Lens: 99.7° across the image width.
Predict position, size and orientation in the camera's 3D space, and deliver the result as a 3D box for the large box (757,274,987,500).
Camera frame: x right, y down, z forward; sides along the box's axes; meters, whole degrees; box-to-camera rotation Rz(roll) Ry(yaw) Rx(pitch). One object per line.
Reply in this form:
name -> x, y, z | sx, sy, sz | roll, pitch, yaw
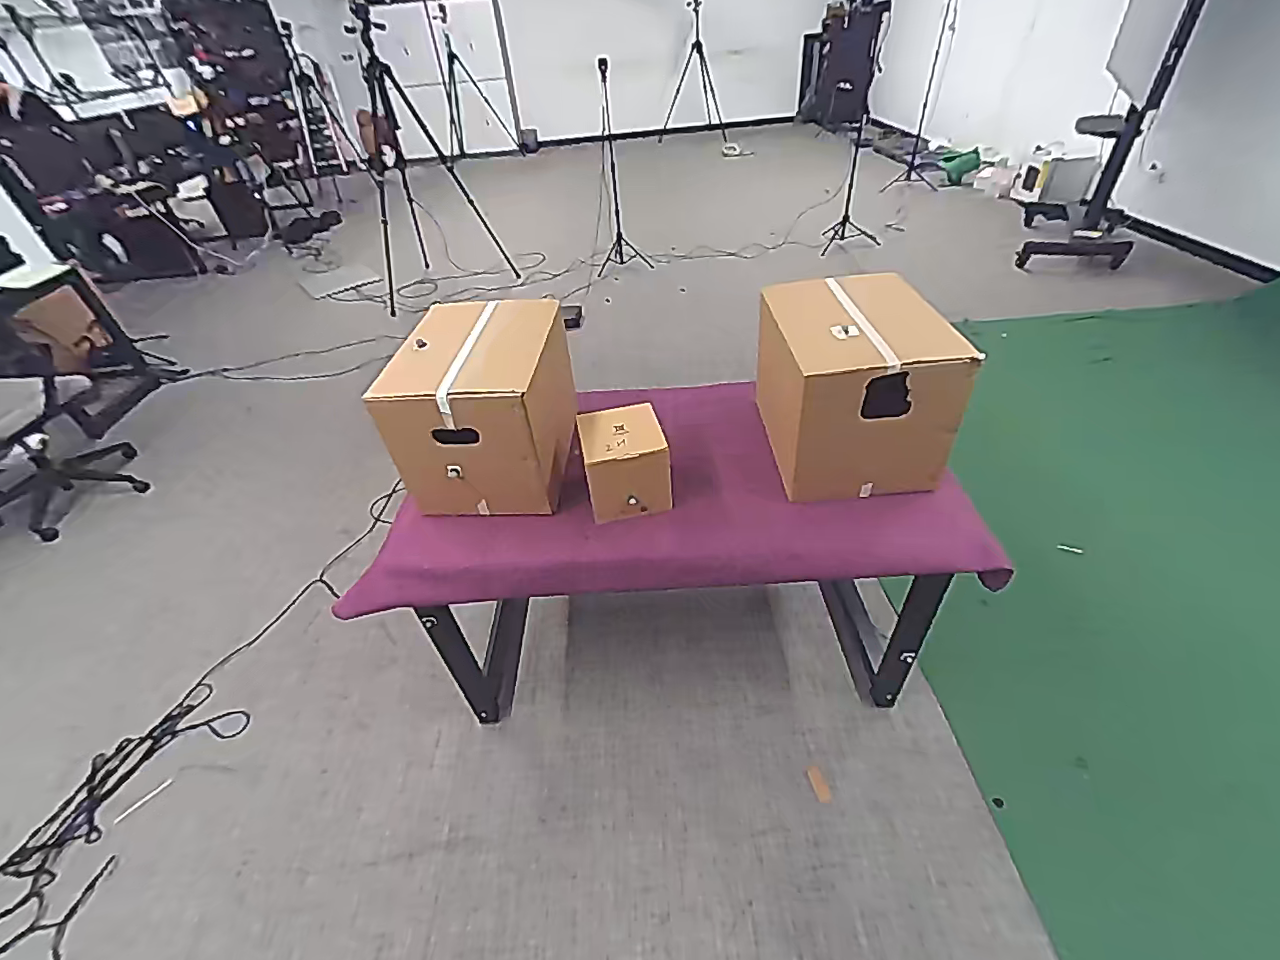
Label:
large box -> 0.454, -0.211, 1.181 | 0.320, 0.320, 0.408 | -6, 42, 3
